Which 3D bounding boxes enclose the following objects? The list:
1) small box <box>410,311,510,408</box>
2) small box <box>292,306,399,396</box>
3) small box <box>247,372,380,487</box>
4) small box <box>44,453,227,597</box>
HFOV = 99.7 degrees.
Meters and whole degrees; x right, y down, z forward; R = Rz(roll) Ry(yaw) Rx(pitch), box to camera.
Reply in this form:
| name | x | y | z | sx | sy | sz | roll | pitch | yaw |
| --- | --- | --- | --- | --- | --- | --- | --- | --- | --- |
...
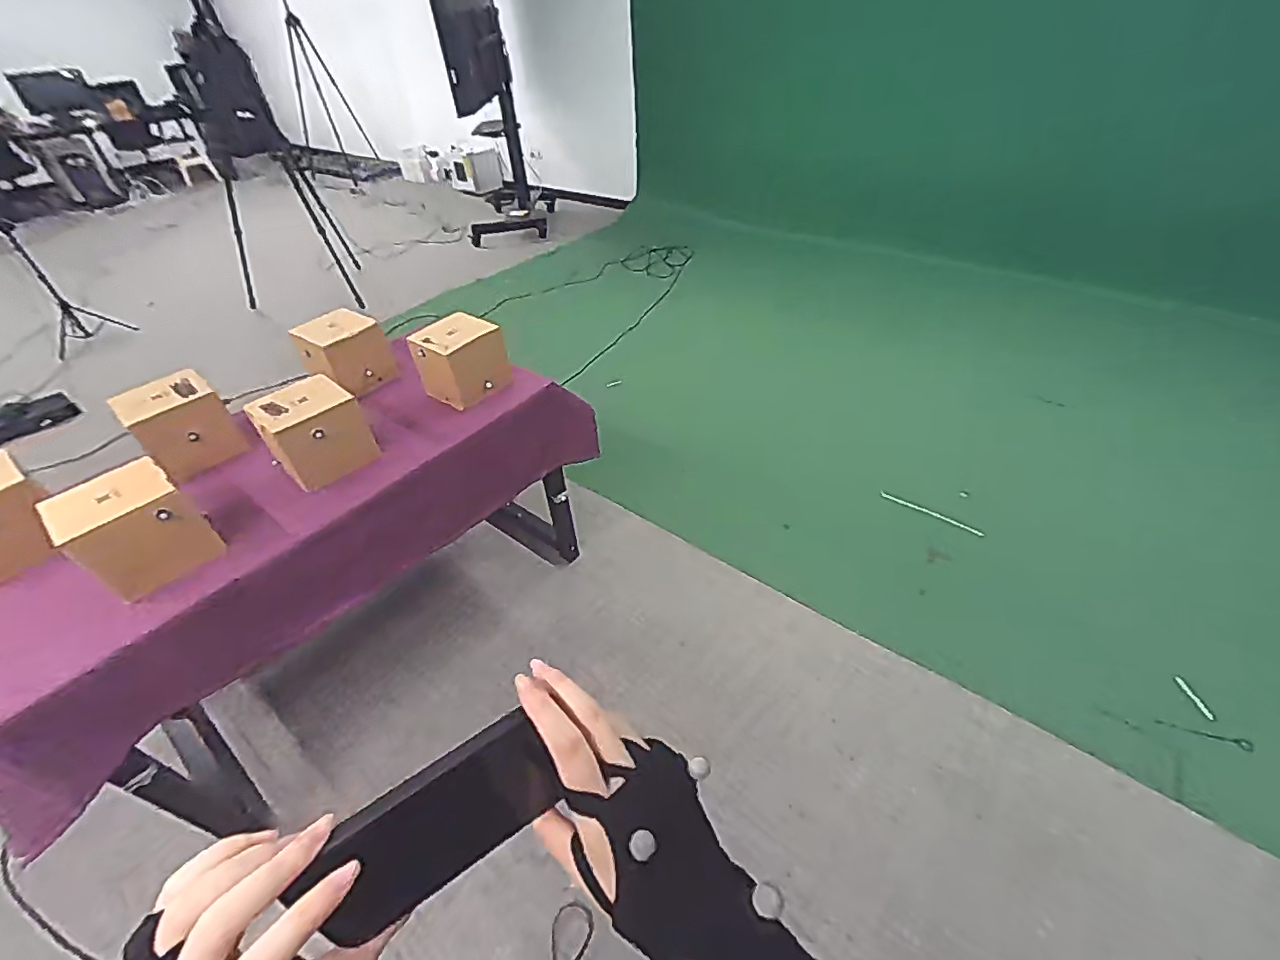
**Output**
| name | x | y | z | sx | sy | sz | roll | pitch | yaw |
| --- | --- | --- | --- | --- | --- | --- | --- | --- | --- |
| small box | -0.463 | -0.317 | 1.421 | 0.168 | 0.176 | 0.179 | 26 | 50 | 29 |
| small box | -0.801 | -0.351 | 1.482 | 0.179 | 0.176 | 0.168 | 25 | 50 | 27 |
| small box | -0.724 | -0.113 | 1.216 | 0.168 | 0.176 | 0.179 | 30 | 51 | 31 |
| small box | -0.935 | 0.085 | 1.014 | 0.168 | 0.176 | 0.179 | 28 | 50 | 30 |
